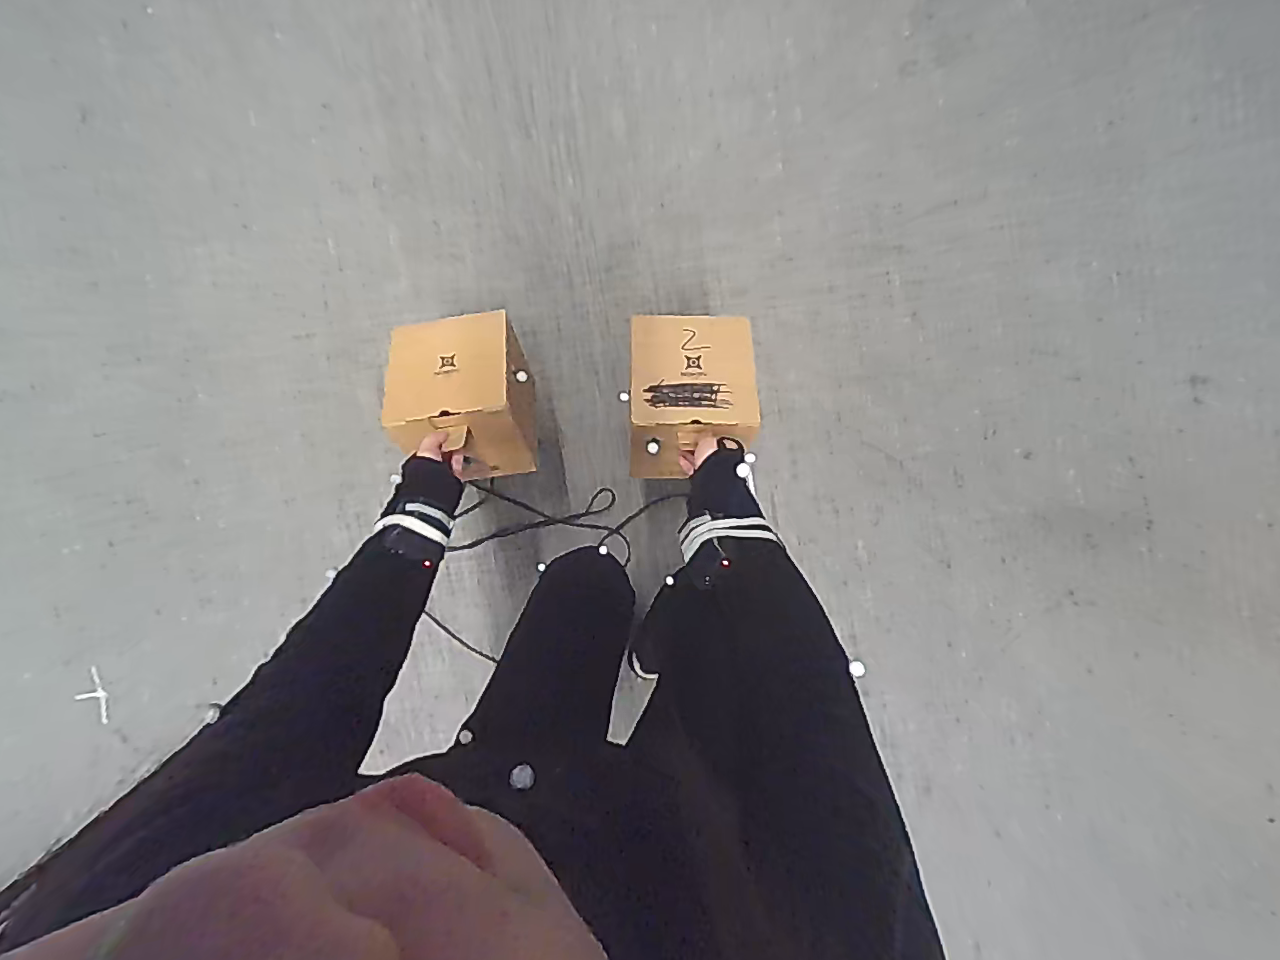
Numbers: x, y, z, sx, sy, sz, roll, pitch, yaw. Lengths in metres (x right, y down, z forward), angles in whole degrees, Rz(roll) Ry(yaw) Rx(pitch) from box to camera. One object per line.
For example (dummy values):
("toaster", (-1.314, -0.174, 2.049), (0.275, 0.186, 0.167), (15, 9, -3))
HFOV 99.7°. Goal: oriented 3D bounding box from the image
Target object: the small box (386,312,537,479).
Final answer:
("small box", (-0.257, -0.123, 0.818), (0.168, 0.176, 0.179), (-8, 62, 1))
